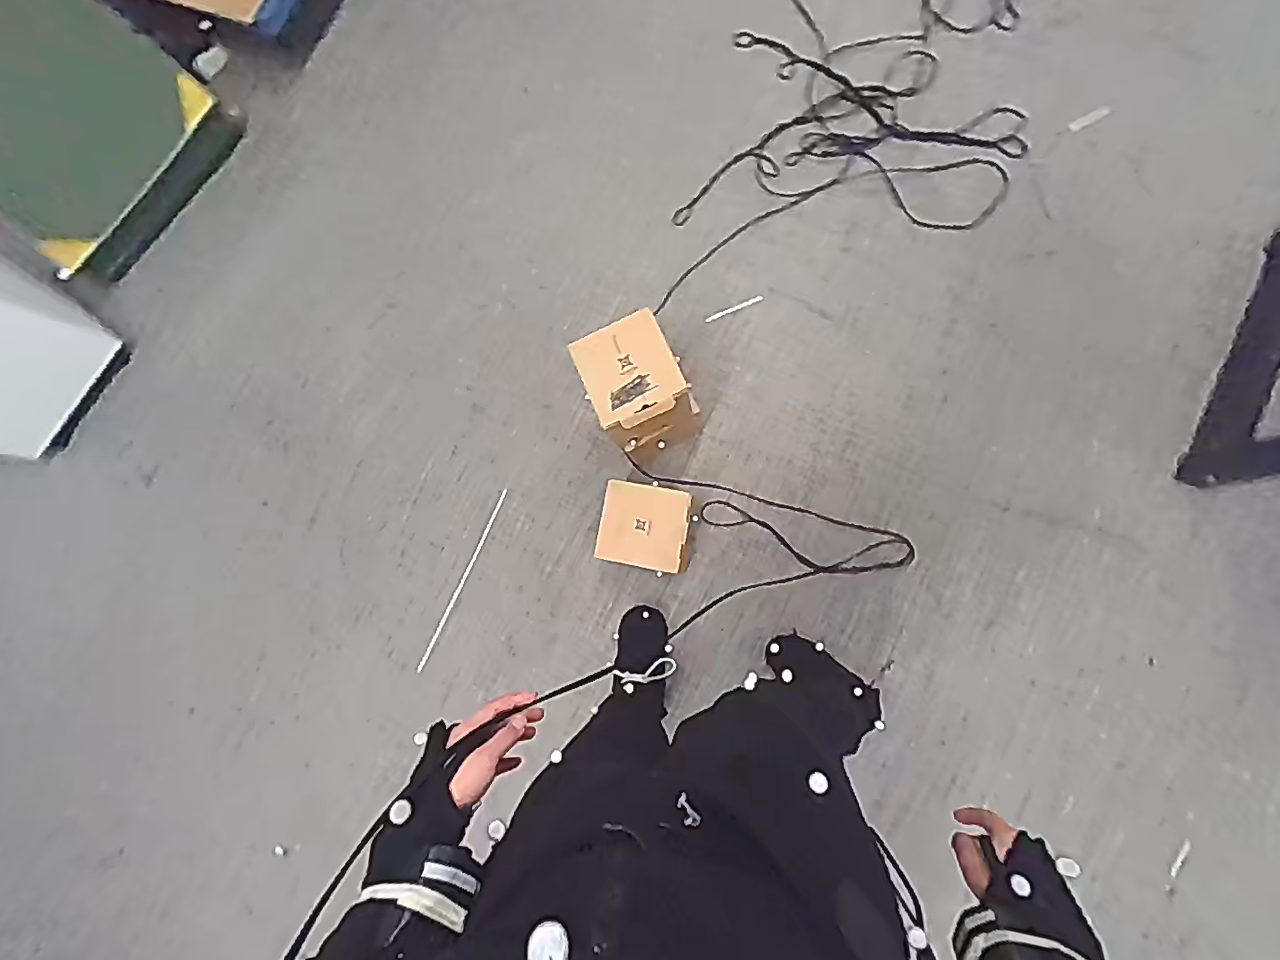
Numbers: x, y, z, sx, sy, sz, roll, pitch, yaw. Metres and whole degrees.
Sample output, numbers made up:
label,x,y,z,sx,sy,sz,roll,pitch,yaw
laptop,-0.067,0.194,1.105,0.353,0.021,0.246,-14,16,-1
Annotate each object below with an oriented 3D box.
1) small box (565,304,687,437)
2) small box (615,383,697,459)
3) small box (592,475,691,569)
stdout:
label,x,y,z,sx,sy,sz,roll,pitch,yaw
small box,-0.018,-0.195,1.031,0.168,0.176,0.179,-25,78,4
small box,0.014,-0.164,1.190,0.179,0.176,0.168,-30,79,3
small box,0.012,0.093,1.158,0.179,0.176,0.168,9,83,10
